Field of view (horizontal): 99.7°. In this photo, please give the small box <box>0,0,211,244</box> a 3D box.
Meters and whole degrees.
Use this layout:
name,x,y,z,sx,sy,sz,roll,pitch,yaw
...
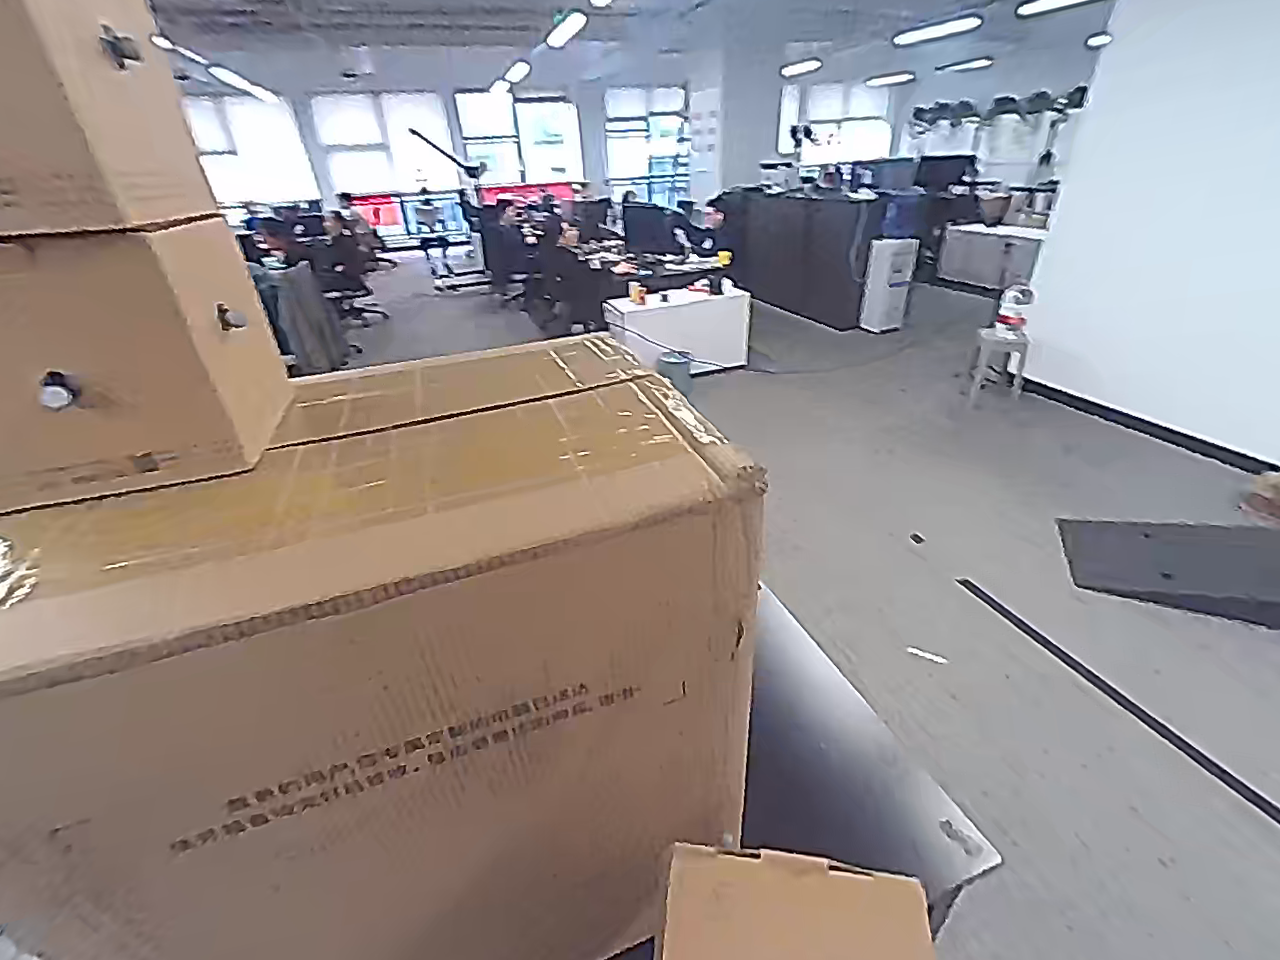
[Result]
name,x,y,z,sx,sy,sz,roll,pitch,yaw
small box,-0.396,-0.236,0.317,0.168,0.176,0.179,-12,32,-15

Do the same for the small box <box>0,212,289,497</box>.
name,x,y,z,sx,sy,sz,roll,pitch,yaw
small box,-0.398,-0.100,0.413,0.168,0.176,0.179,-12,32,-17
